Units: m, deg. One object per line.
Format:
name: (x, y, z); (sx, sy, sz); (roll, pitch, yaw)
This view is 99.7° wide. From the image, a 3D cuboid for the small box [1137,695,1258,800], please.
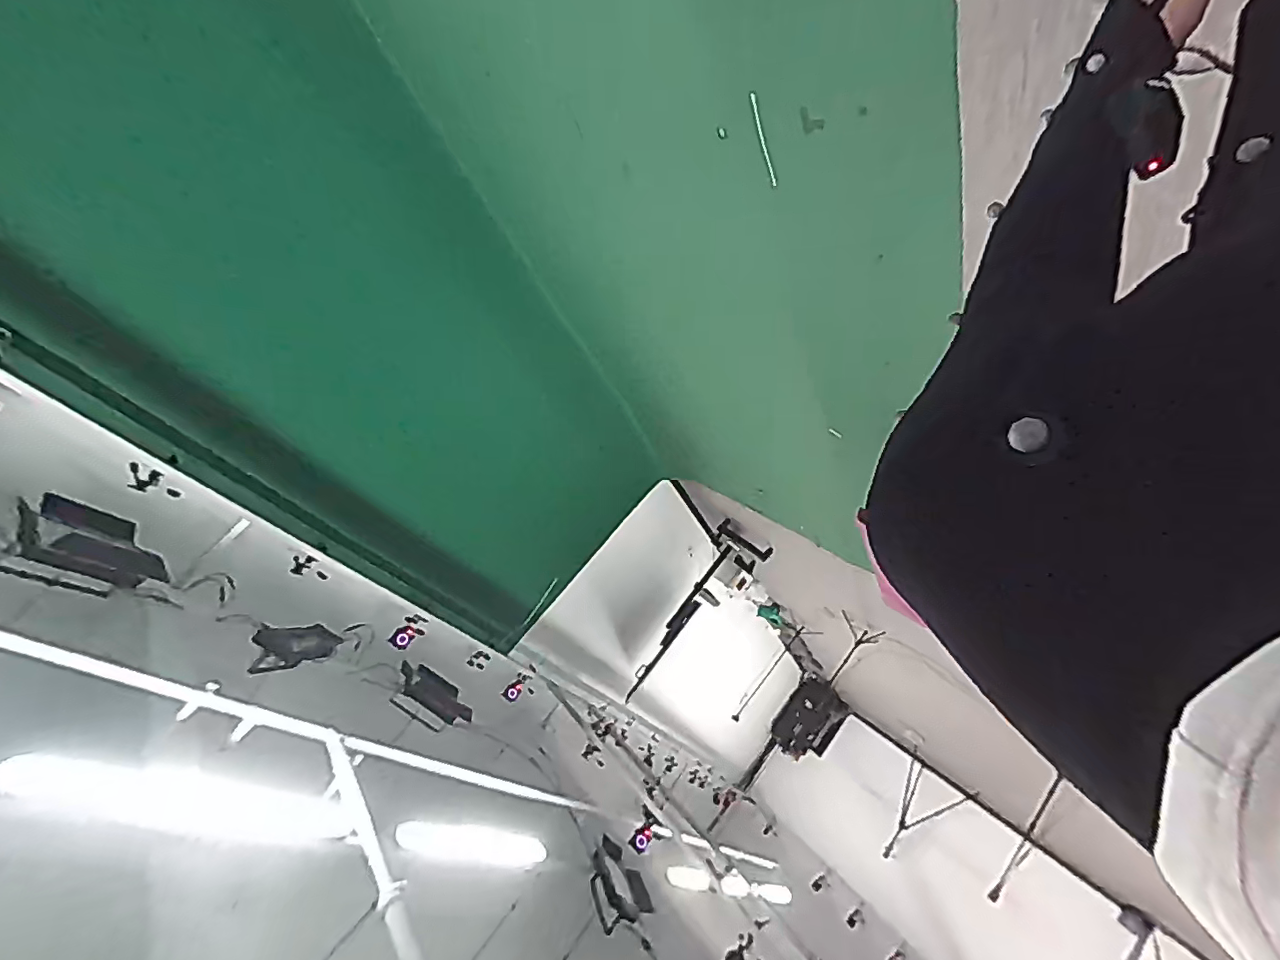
small box: (1.453, 0.694, 1.413); (0.168, 0.176, 0.179); (30, 166, 45)
